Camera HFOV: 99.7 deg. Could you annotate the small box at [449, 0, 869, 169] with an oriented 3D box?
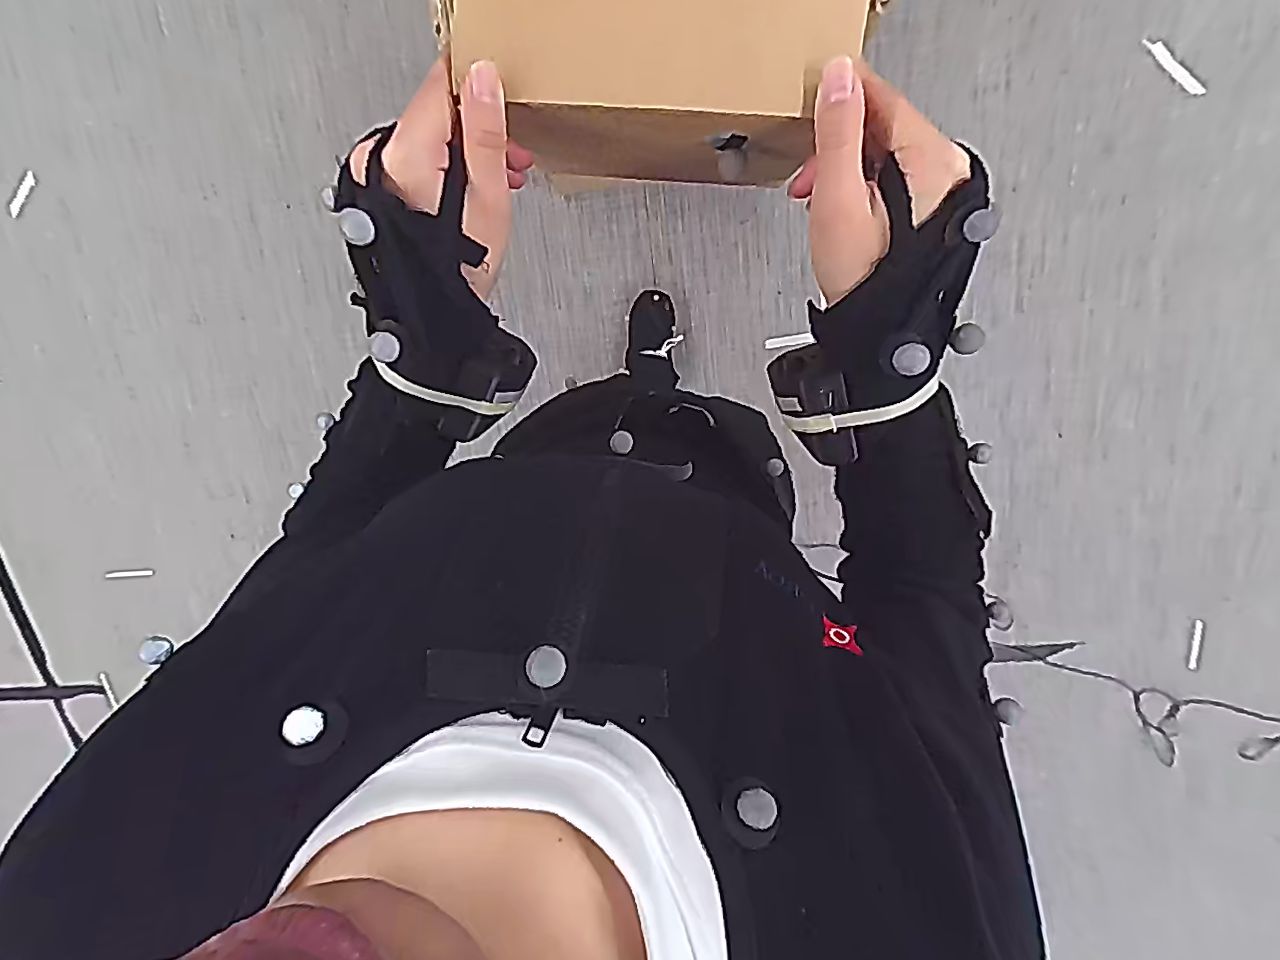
[{"bbox_3d":[0.015,-0.272,0.279,0.179,0.176,0.168,5,110,3],"label":"small box"}]
